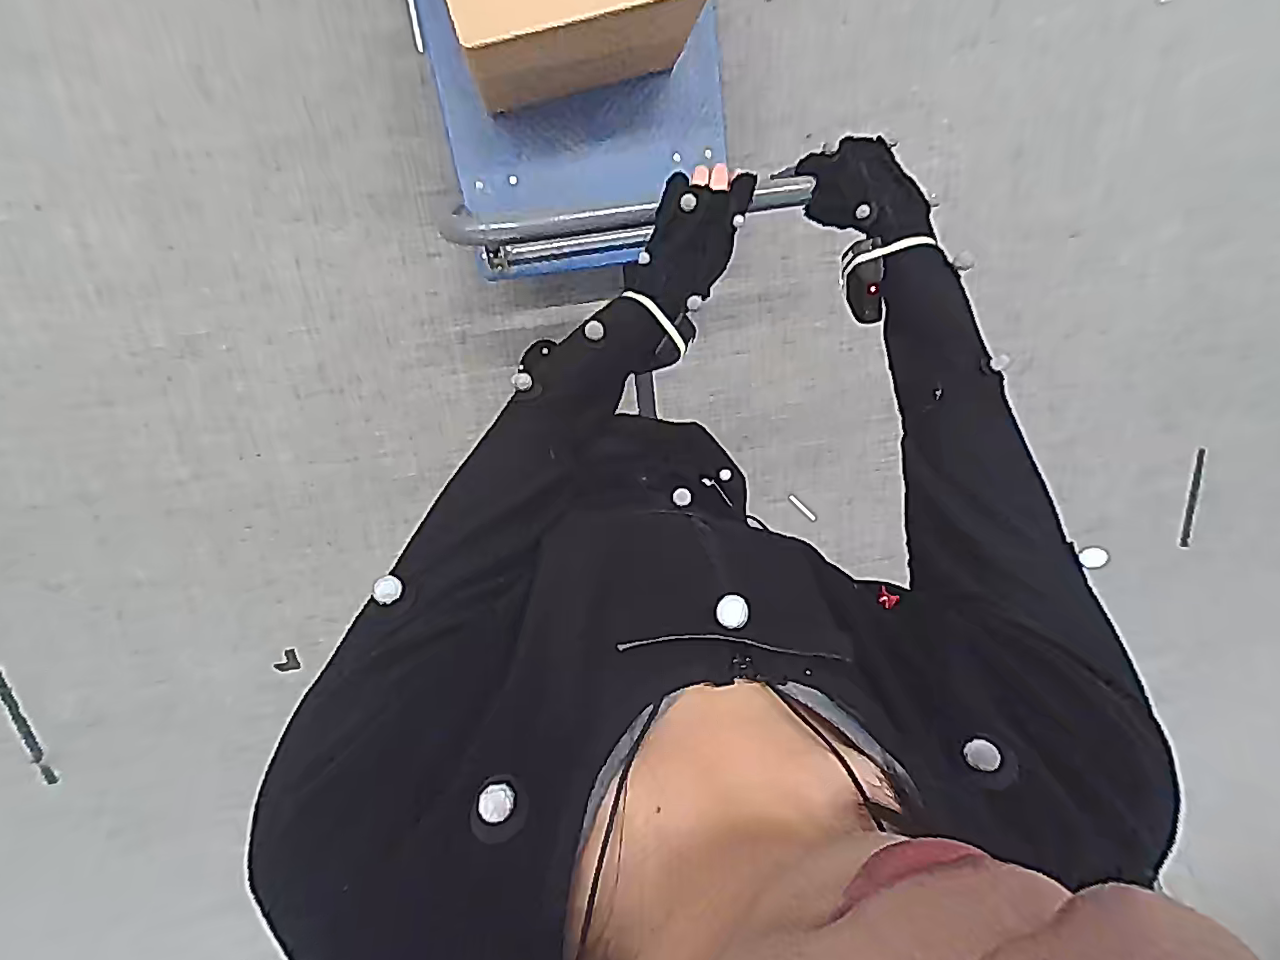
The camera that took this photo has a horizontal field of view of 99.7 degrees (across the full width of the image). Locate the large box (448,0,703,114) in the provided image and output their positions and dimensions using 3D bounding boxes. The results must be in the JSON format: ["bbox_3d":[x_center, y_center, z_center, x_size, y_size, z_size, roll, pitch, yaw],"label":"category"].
[{"bbox_3d":[-0.136,-0.888,0.911,0.408,0.320,0.320,-18,110,-4],"label":"large box"}]
